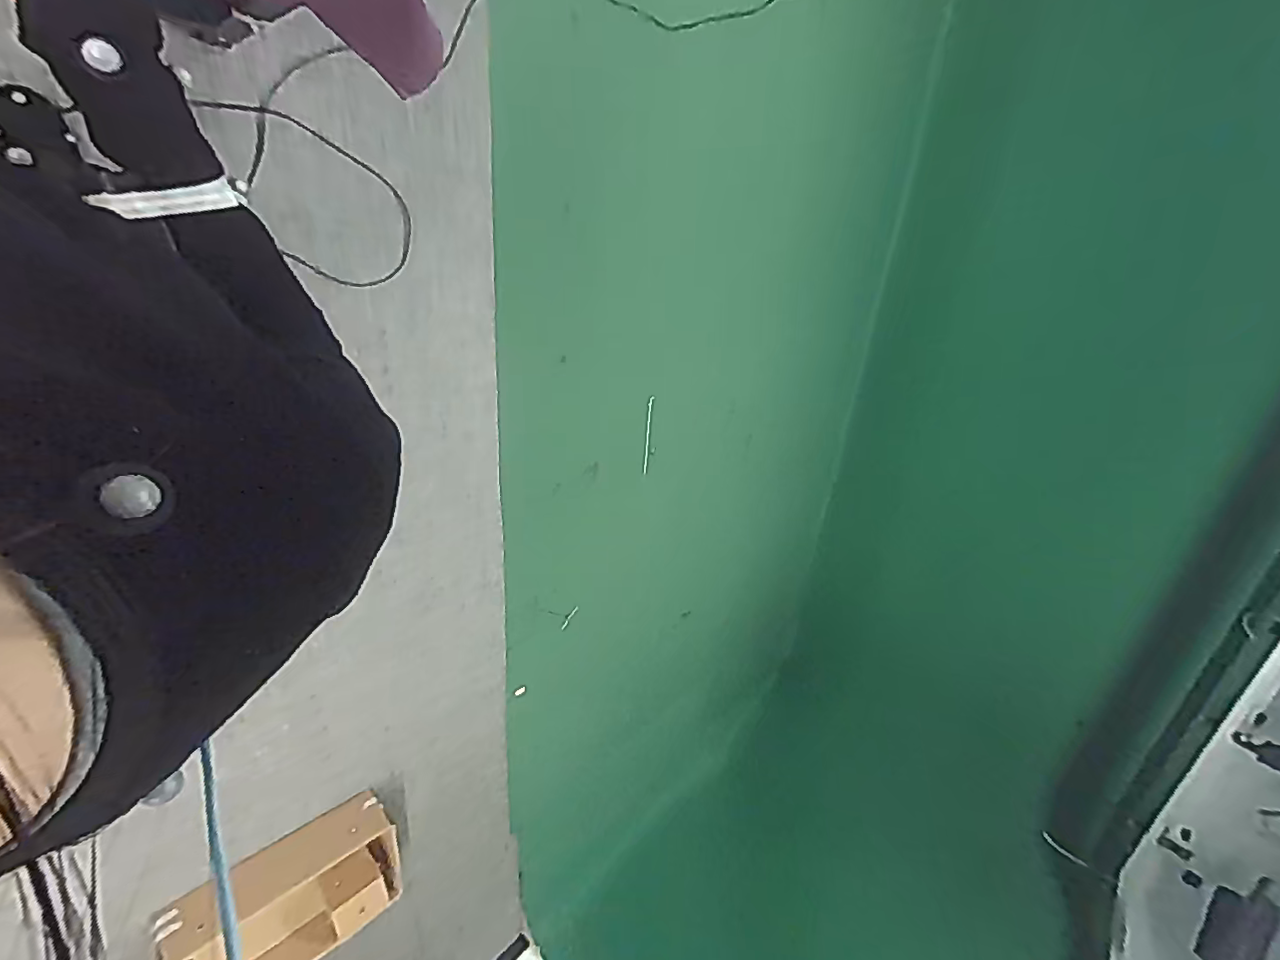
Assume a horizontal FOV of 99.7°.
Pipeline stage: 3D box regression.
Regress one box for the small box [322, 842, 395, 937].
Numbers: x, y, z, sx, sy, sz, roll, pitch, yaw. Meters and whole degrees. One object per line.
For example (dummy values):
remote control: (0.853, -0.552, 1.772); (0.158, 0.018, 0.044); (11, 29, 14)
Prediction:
small box: (-0.978, 1.406, 1.877); (0.168, 0.176, 0.179); (-21, 123, -42)
